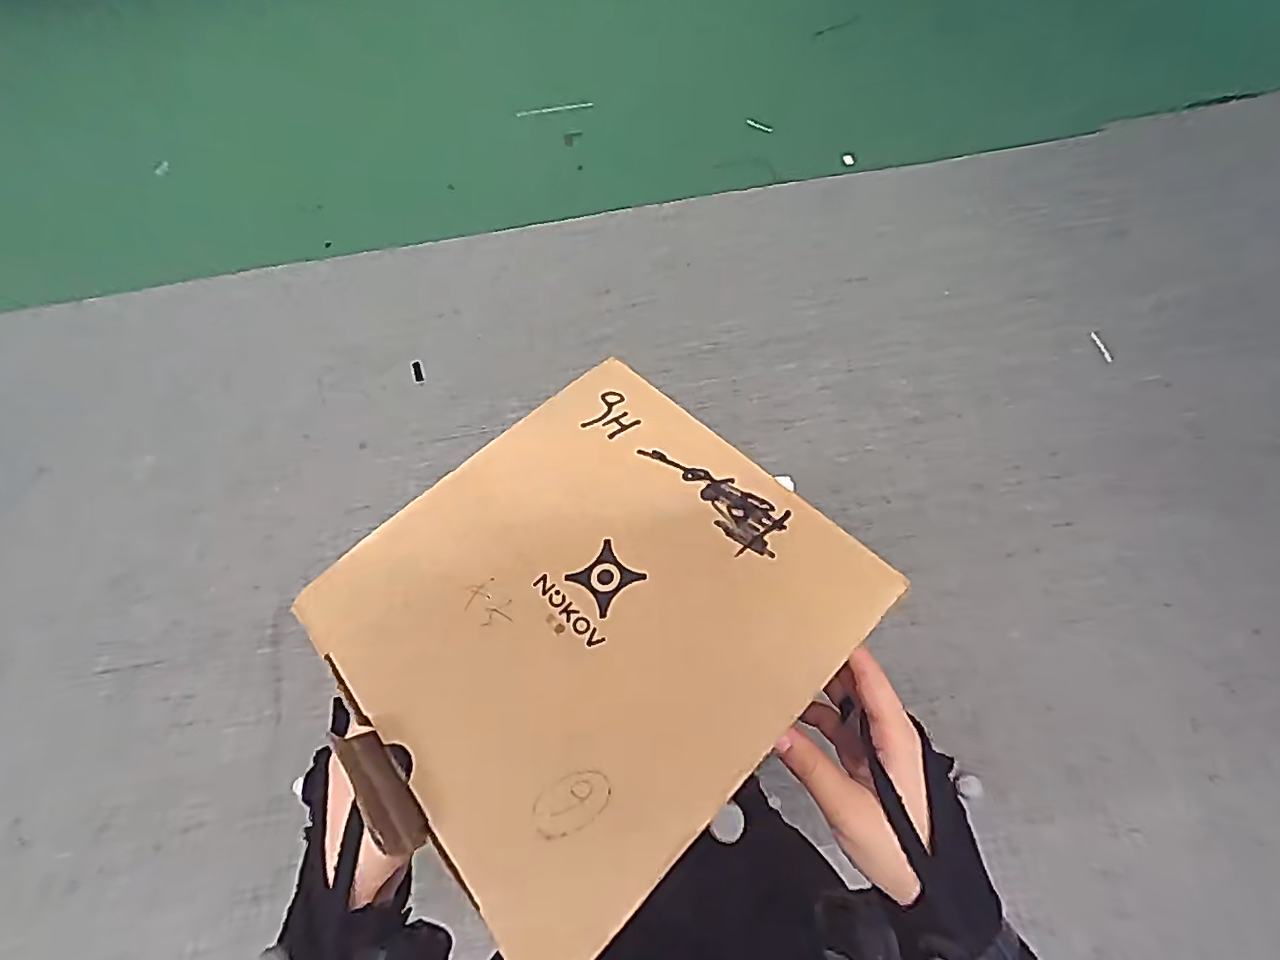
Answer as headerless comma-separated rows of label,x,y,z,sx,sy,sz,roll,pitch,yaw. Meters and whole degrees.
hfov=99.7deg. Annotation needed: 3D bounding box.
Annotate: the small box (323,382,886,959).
small box,-0.011,0.091,0.287,0.179,0.176,0.168,-41,65,-17
